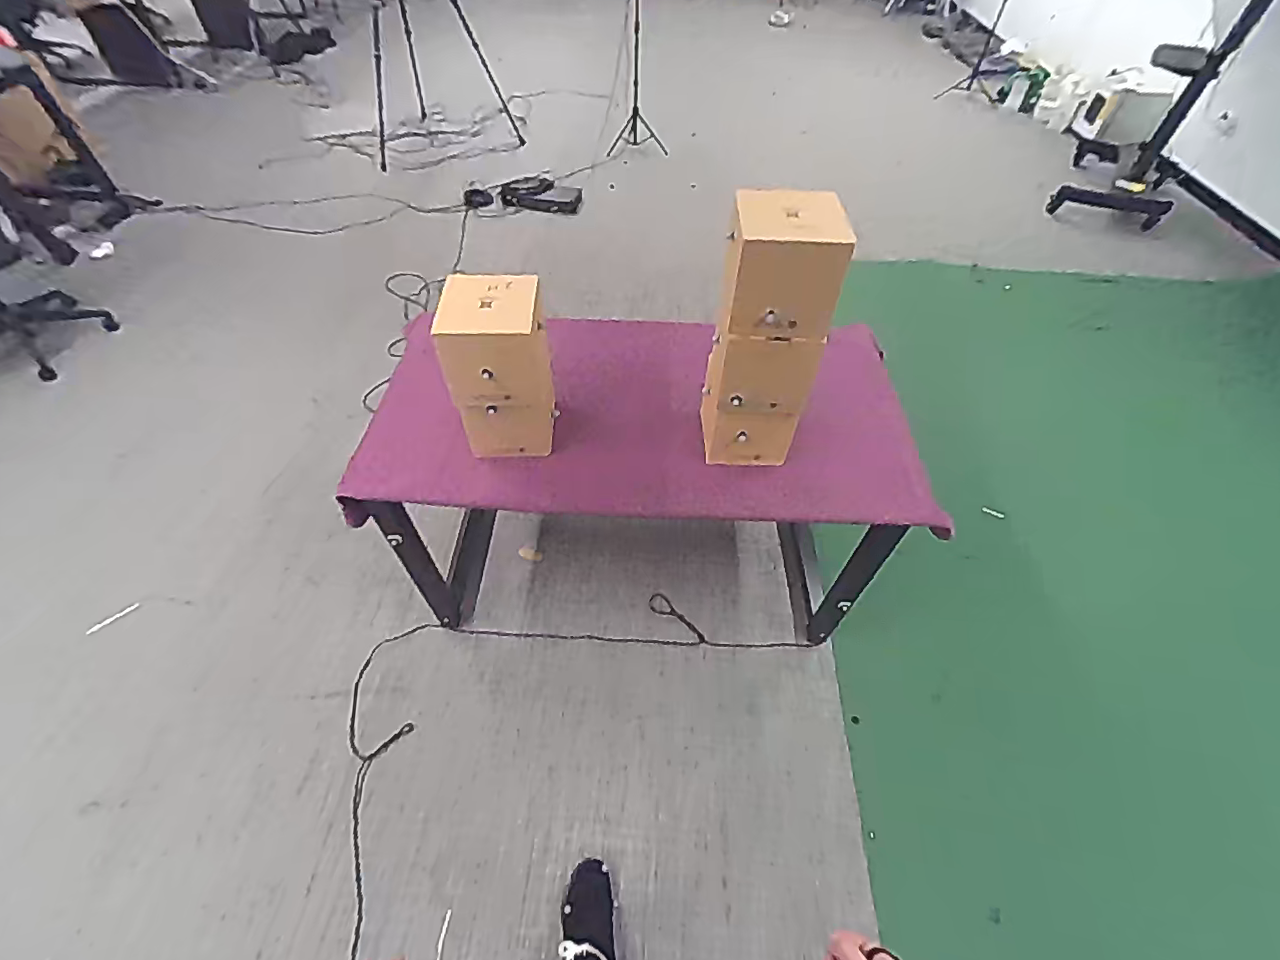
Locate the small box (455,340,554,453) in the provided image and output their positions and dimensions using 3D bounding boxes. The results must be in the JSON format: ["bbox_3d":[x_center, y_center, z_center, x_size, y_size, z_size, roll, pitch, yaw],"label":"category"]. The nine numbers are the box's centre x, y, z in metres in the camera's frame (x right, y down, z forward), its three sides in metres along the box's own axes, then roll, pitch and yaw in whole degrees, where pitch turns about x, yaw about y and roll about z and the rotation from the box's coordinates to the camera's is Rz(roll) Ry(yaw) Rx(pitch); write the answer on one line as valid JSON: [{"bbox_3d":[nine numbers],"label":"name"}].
[{"bbox_3d":[-0.273,-0.174,1.130,0.168,0.176,0.179,-2,51,-3],"label":"small box"}]

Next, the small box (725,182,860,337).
[{"bbox_3d":[0.232,-0.356,0.878,0.168,0.176,0.179,3,51,1],"label":"small box"}]

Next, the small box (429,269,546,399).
[{"bbox_3d":[-0.266,-0.264,0.990,0.168,0.176,0.179,0,52,-3],"label":"small box"}]

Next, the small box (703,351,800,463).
[{"bbox_3d":[0.225,-0.149,1.132,0.168,0.176,0.179,1,50,-1],"label":"small box"}]

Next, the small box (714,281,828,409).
[{"bbox_3d":[0.230,-0.248,1.000,0.168,0.176,0.179,3,49,0],"label":"small box"}]
